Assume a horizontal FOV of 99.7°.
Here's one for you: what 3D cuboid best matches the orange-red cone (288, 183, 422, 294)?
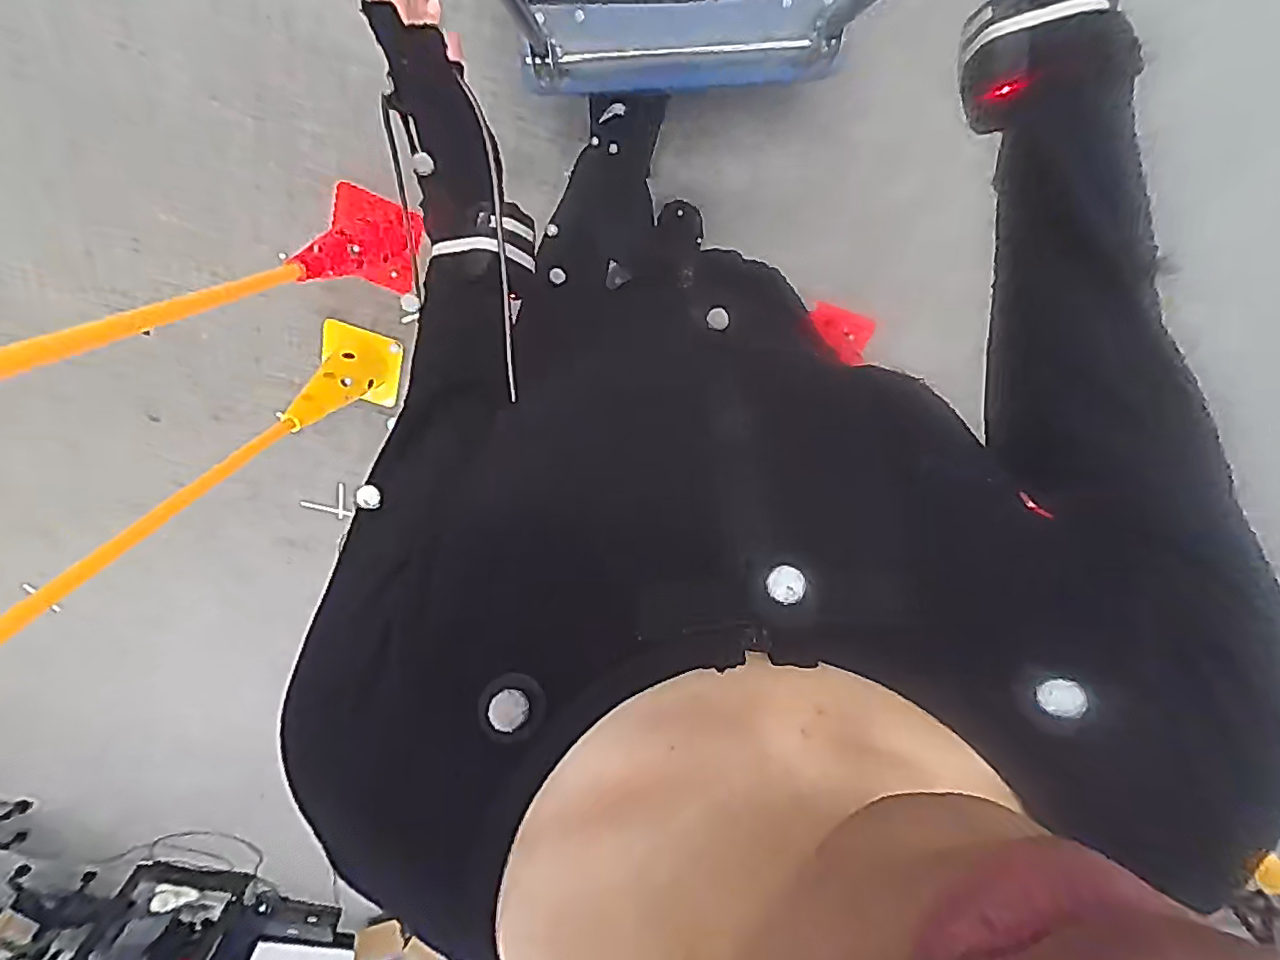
[{"bbox_3d":[-0.627,-0.476,1.131,0.198,0.360,0.199,21,118,-13],"label":"orange-red cone"}]

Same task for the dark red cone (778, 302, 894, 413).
[{"bbox_3d":[0.480,-0.253,1.243,0.201,0.394,0.202,14,121,-10],"label":"dark red cone"}]
